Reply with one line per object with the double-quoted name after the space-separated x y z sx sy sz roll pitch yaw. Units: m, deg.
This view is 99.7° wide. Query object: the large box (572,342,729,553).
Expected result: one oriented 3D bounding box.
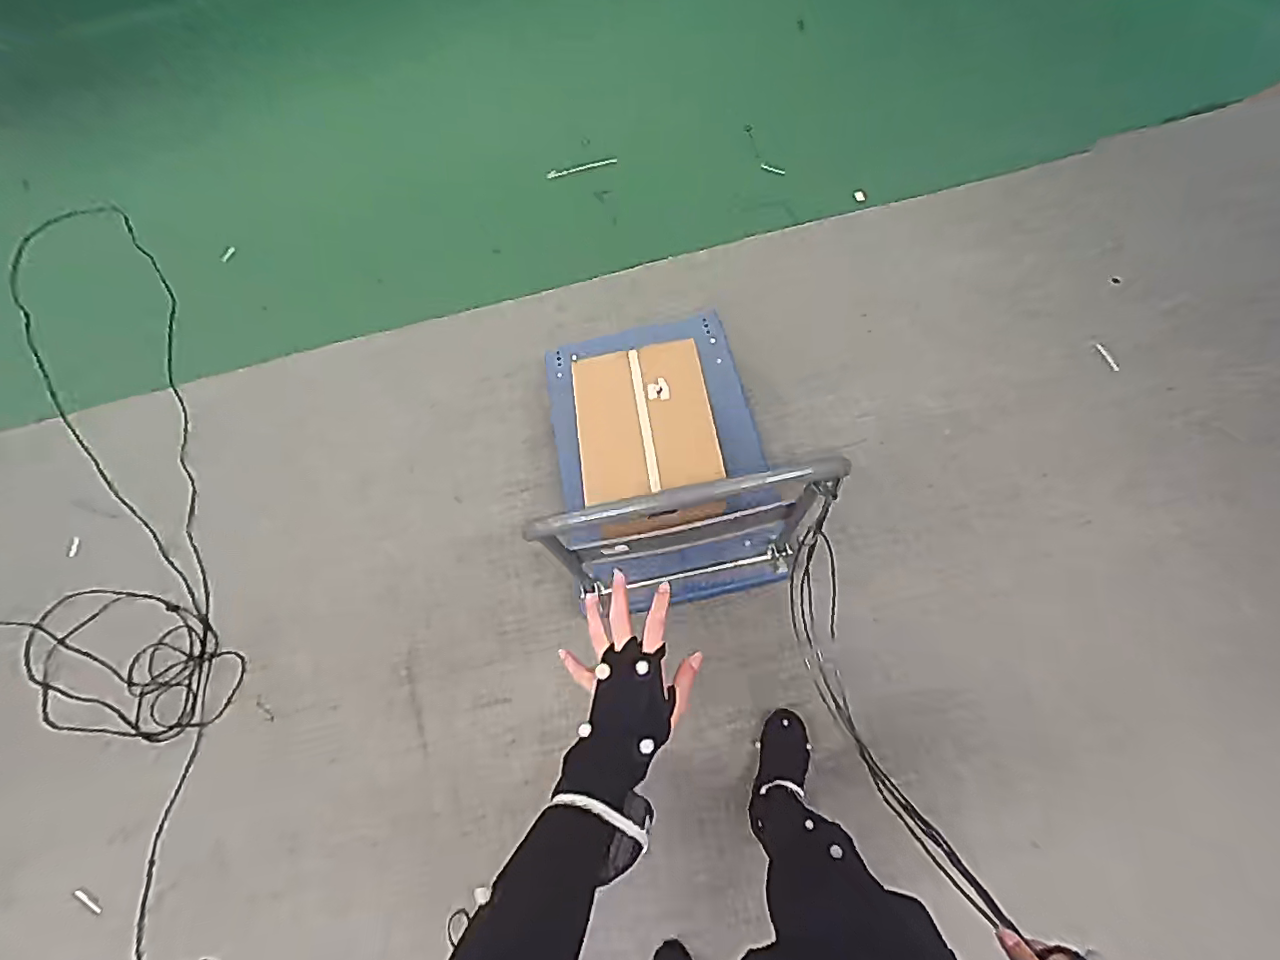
0.030 -0.071 1.367 0.320 0.320 0.408 -10 64 2 "large box"
